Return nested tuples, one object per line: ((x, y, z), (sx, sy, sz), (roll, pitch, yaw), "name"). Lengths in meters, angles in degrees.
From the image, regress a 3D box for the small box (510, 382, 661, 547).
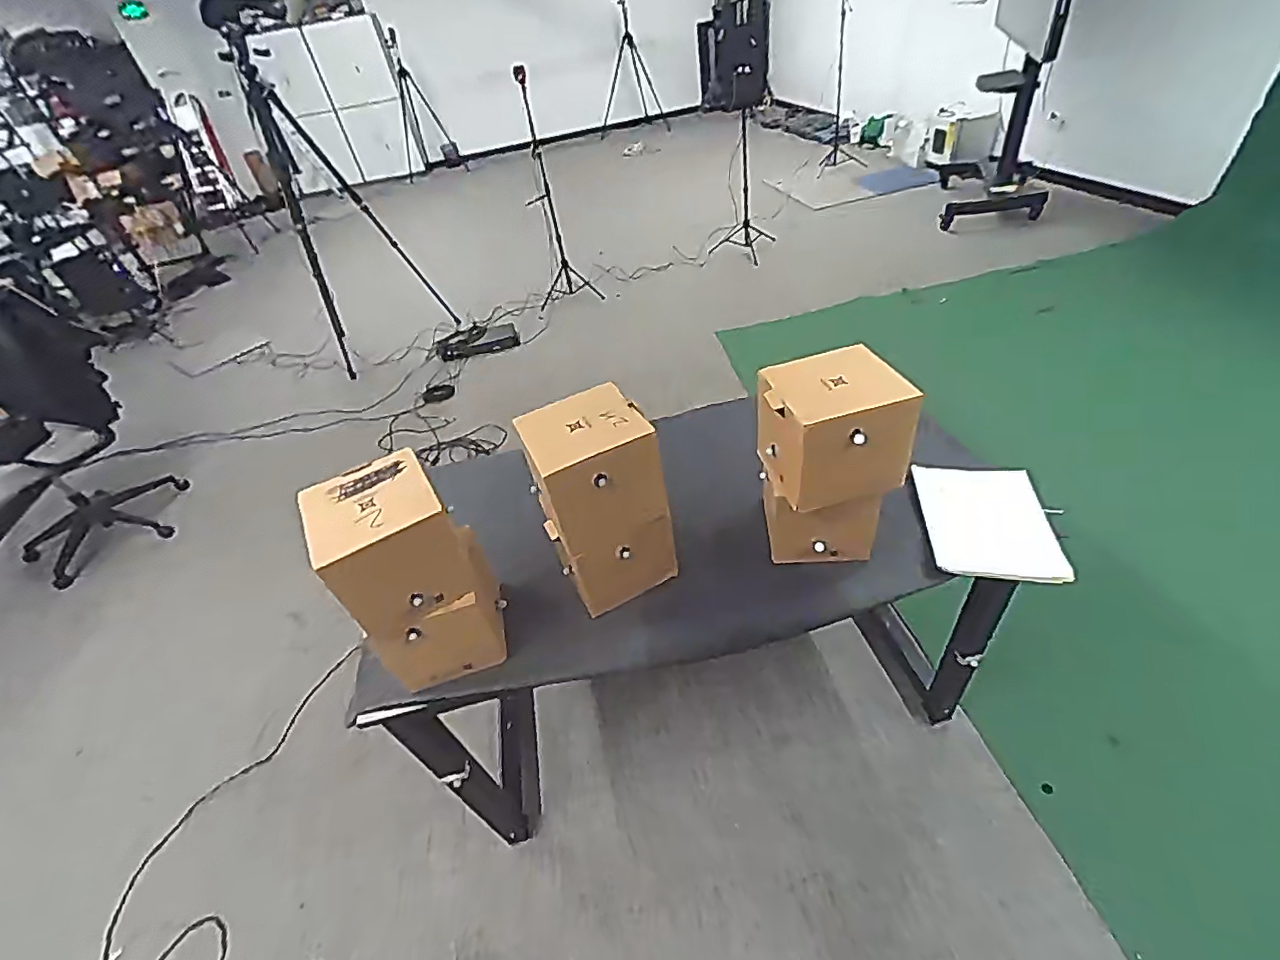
((-0.082, -0.023, 0.858), (0.179, 0.176, 0.168), (-23, 43, -13), "small box")

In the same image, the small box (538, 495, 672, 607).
((-0.058, 0.096, 0.970), (0.179, 0.176, 0.168), (-25, 44, -15), "small box")

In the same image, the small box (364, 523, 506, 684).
((-0.334, 0.206, 0.906), (0.168, 0.176, 0.179), (-17, 42, -7), "small box")

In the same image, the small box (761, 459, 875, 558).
((0.306, 0.019, 0.969), (0.168, 0.176, 0.179), (-4, 42, 9), "small box")

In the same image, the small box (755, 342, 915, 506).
((0.289, -0.086, 0.843), (0.179, 0.176, 0.168), (-15, 41, -3), "small box")
